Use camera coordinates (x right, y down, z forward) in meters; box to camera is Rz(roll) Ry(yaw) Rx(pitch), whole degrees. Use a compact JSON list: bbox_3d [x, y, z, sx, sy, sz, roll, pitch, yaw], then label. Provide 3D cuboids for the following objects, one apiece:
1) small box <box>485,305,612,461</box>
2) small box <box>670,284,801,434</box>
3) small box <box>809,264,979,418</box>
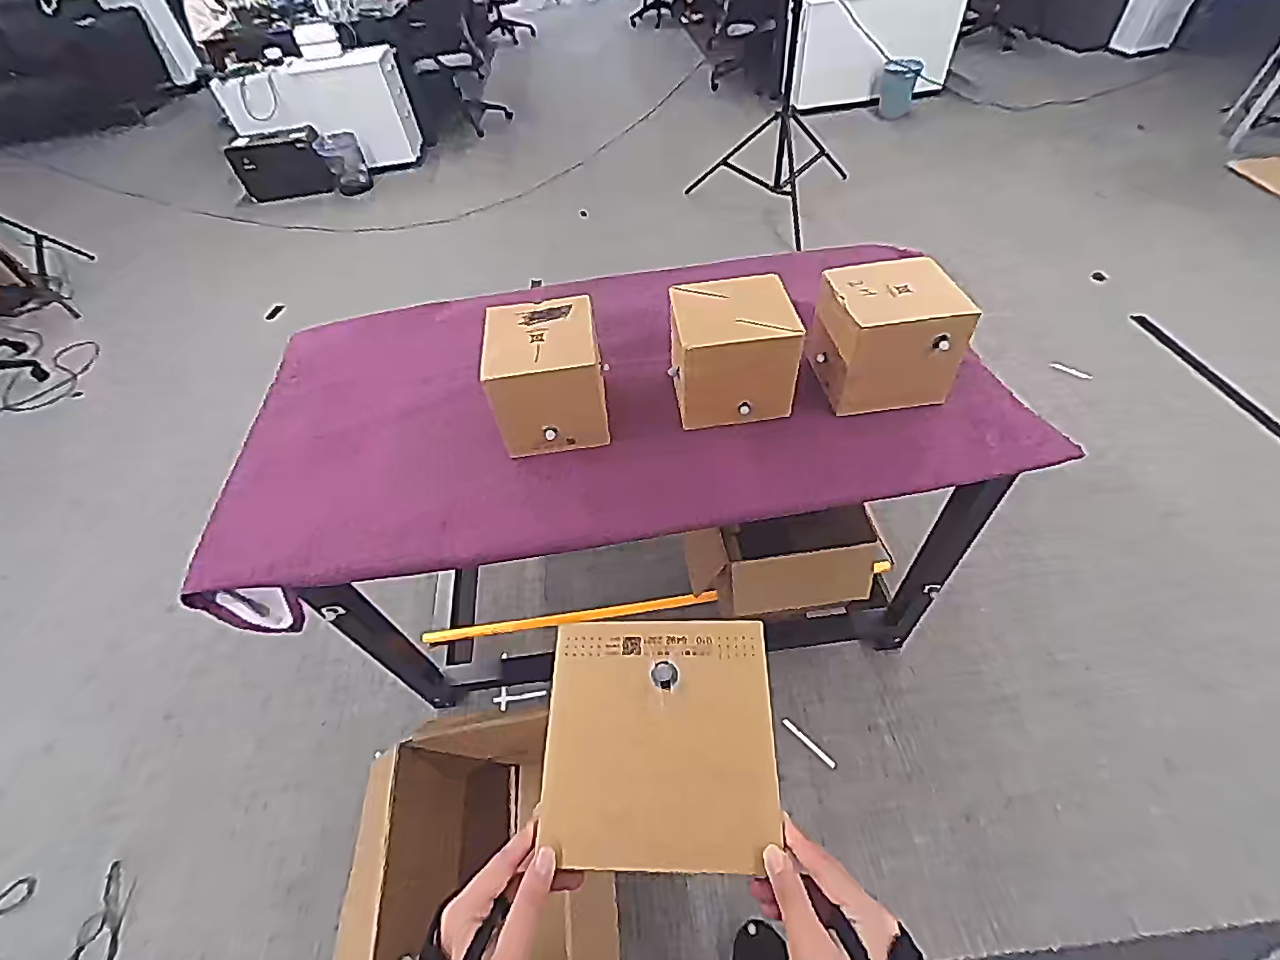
[{"bbox_3d":[-0.140,-0.155,0.876,0.168,0.176,0.179,-8,50,0],"label":"small box"},{"bbox_3d":[0.146,-0.198,0.876,0.179,0.176,0.168,-7,49,1],"label":"small box"},{"bbox_3d":[0.391,-0.220,0.868,0.179,0.176,0.168,-7,48,0],"label":"small box"}]
